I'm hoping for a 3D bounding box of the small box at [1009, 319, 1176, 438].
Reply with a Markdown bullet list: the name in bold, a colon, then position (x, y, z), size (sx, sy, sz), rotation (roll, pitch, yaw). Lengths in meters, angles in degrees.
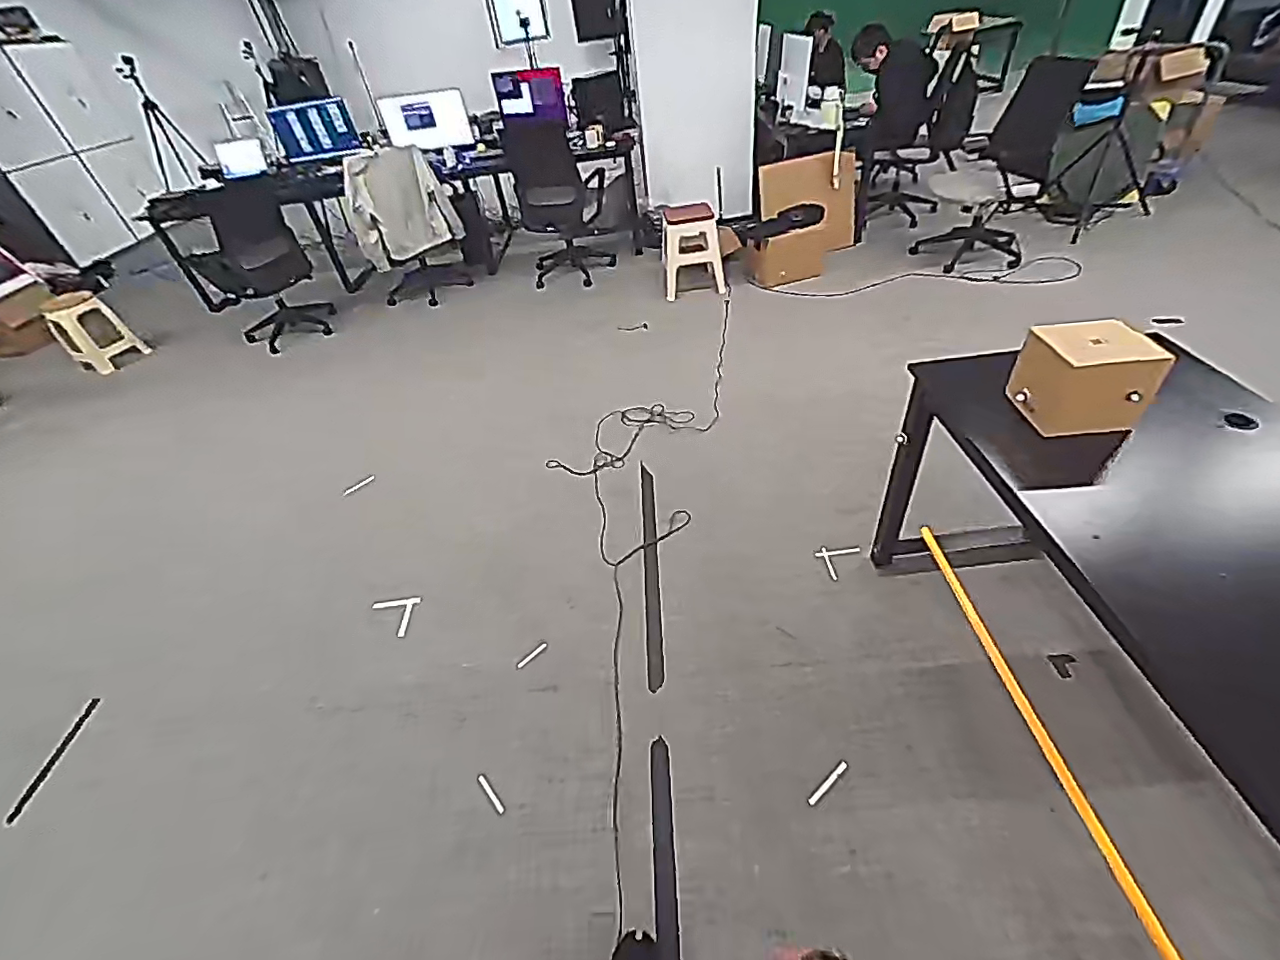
- **small box**: position (0.900, -0.204, 1.099), size (0.179, 0.176, 0.168), rotation (-6, 41, 5)
